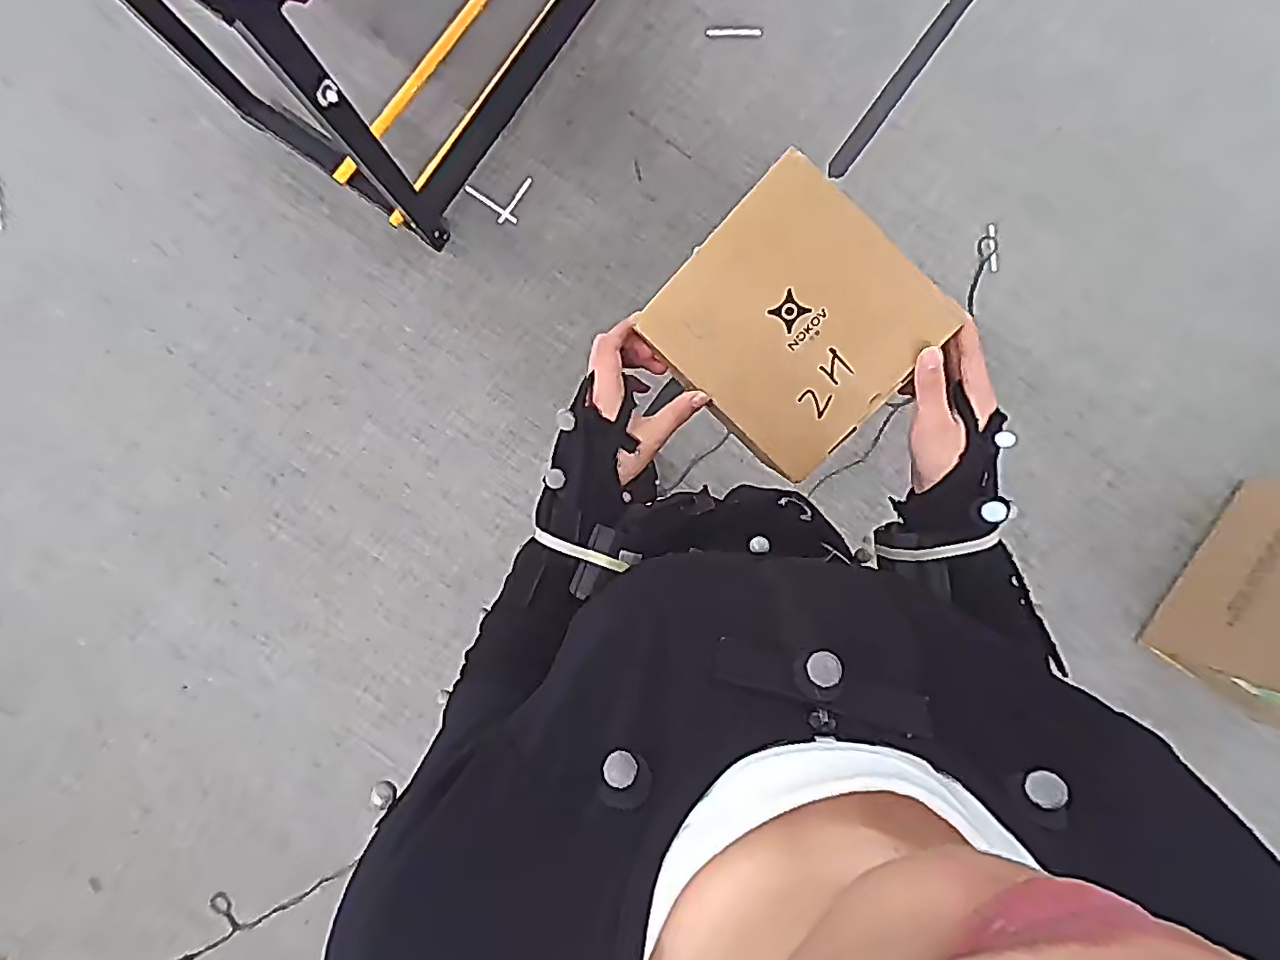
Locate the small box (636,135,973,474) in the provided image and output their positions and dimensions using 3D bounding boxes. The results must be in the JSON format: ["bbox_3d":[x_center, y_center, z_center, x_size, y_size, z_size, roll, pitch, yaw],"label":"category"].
[{"bbox_3d":[0.118,-0.128,0.455,0.179,0.176,0.168,44,100,-3],"label":"small box"}]
